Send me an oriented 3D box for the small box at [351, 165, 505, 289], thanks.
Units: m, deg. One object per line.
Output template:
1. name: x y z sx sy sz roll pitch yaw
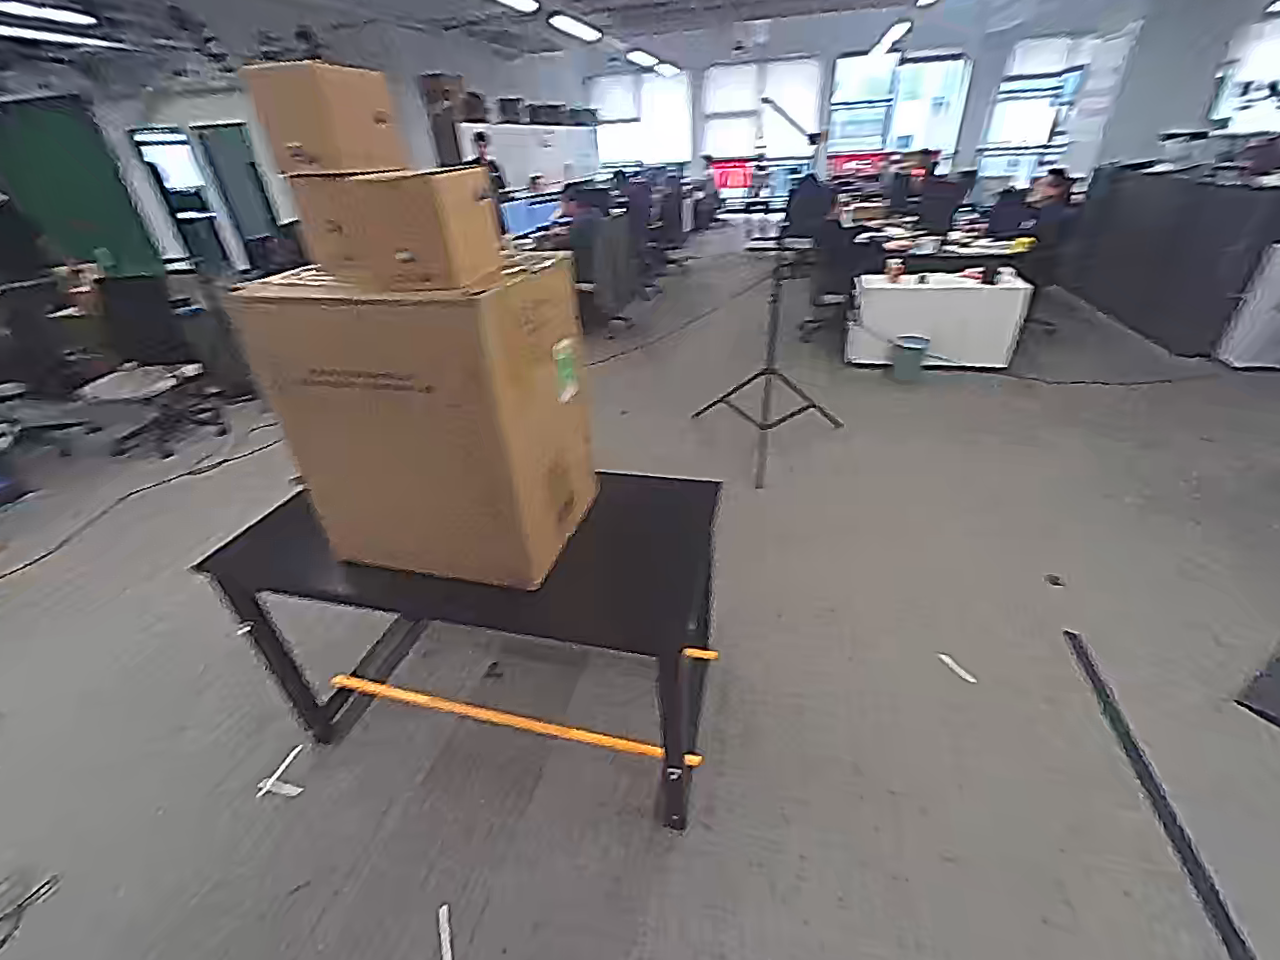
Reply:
1. small box: -0.345 -0.433 0.924 0.168 0.176 0.179 3 34 13

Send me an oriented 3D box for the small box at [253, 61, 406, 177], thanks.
1. small box: -0.573 -0.679 1.030 0.168 0.176 0.179 7 33 16

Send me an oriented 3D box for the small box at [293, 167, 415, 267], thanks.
1. small box: -0.566 -0.549 1.130 0.168 0.176 0.179 7 34 14
